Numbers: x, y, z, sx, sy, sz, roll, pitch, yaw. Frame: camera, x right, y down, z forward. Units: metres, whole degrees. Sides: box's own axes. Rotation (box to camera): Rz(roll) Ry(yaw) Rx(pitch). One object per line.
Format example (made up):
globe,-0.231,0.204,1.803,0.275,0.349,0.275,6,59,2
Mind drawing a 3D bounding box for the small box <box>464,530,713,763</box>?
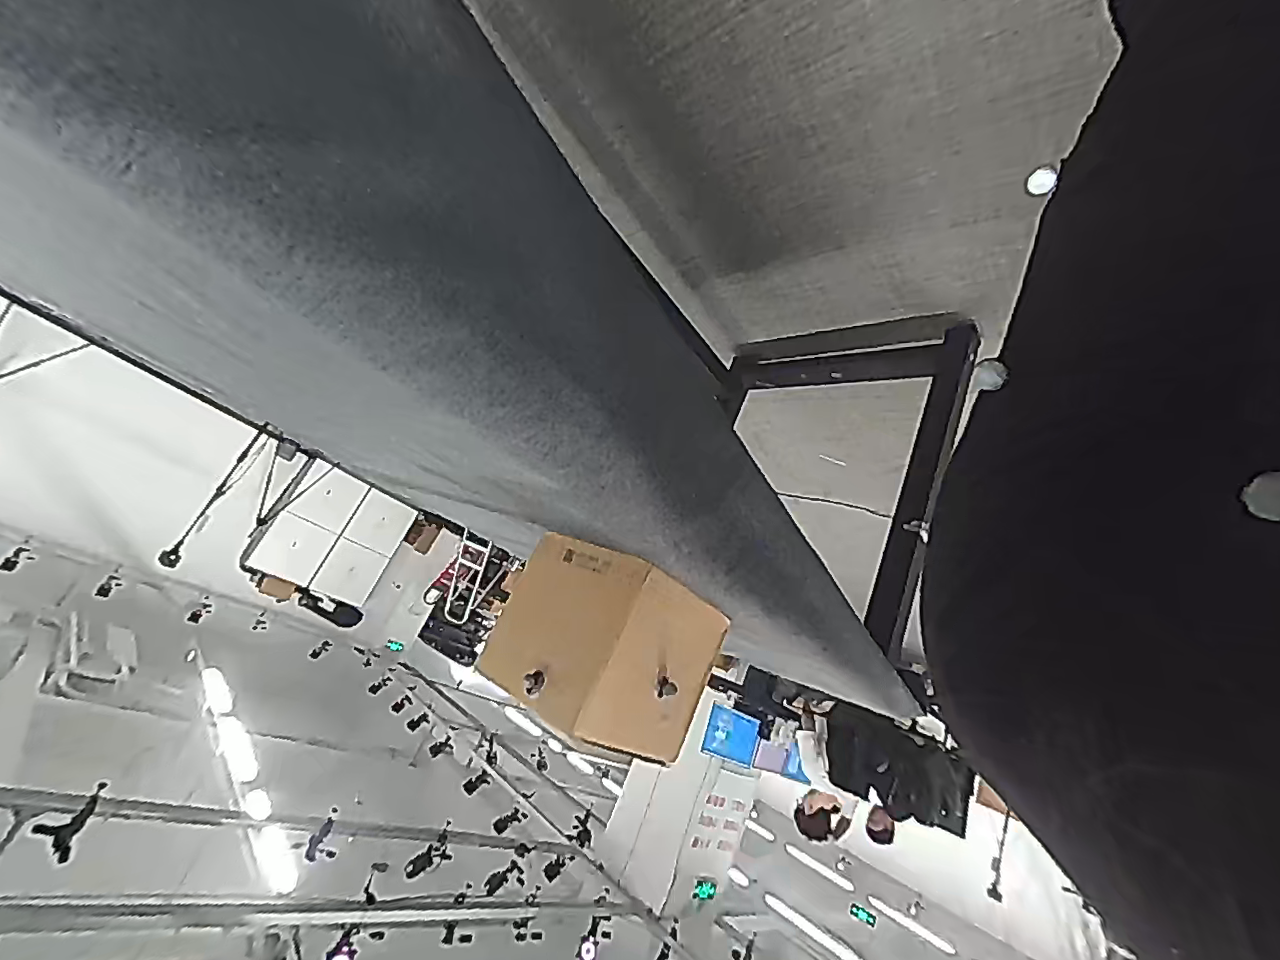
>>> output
small box,-0.046,0.176,0.590,0.168,0.176,0.179,9,156,43
